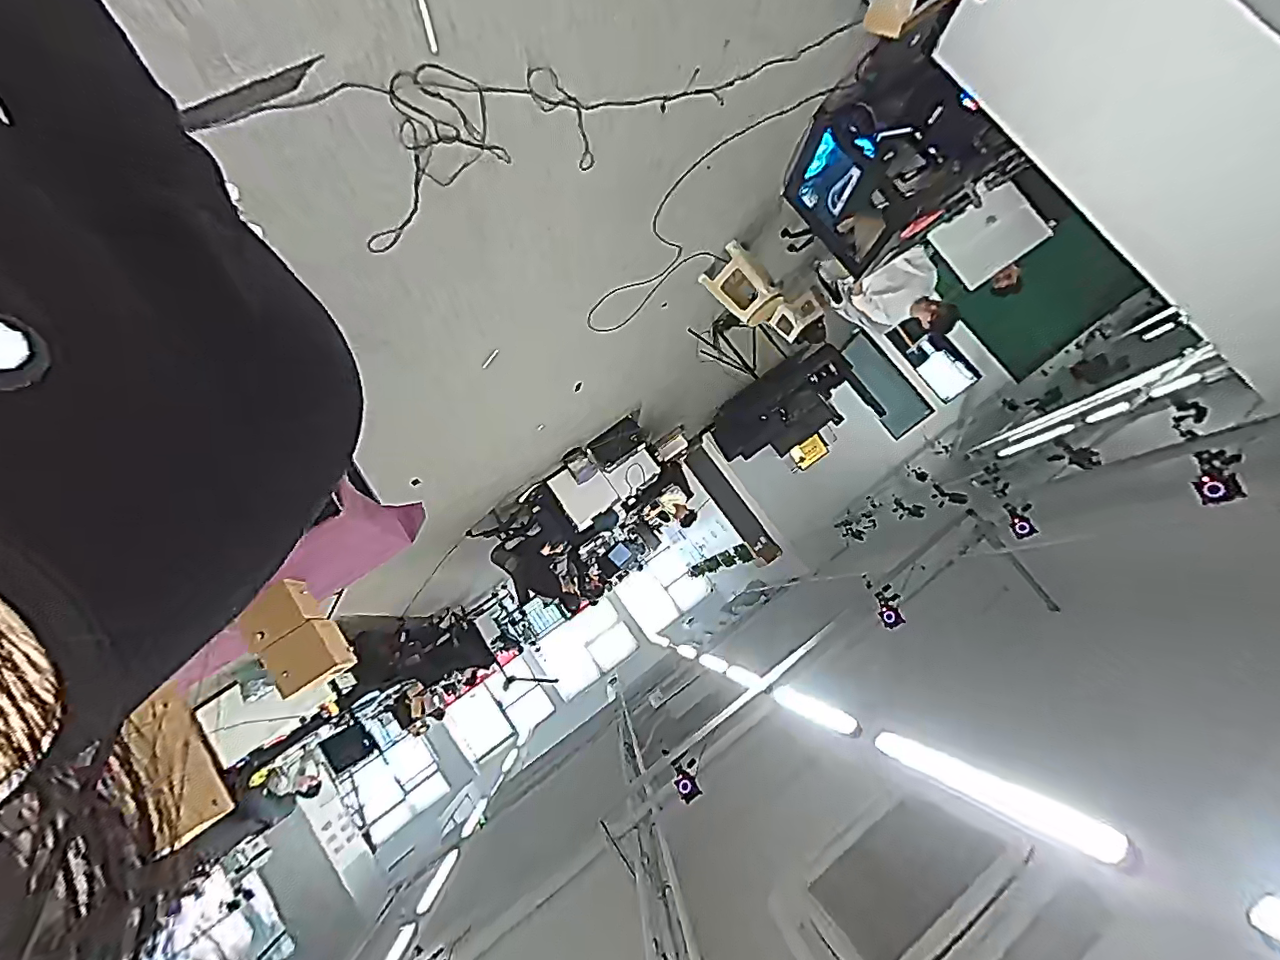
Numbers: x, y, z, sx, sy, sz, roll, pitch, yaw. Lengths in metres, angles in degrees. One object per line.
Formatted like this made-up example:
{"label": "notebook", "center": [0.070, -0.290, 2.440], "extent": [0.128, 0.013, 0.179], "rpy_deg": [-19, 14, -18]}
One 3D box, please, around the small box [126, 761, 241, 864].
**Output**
{"label": "small box", "center": [-1.333, 0.961, 1.582], "extent": [0.168, 0.176, 0.179], "rpy_deg": [-34, 171, -17]}

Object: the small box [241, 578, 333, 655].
{"label": "small box", "center": [-1.139, 0.439, 1.740], "extent": [0.179, 0.176, 0.168], "rpy_deg": [-34, 172, -15]}

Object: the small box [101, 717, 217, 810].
{"label": "small box", "center": [-1.429, 0.833, 1.614], "extent": [0.168, 0.176, 0.179], "rpy_deg": [-34, 172, -17]}

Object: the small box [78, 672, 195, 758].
{"label": "small box", "center": [-1.525, 0.703, 1.643], "extent": [0.168, 0.176, 0.179], "rpy_deg": [-34, 171, -15]}
